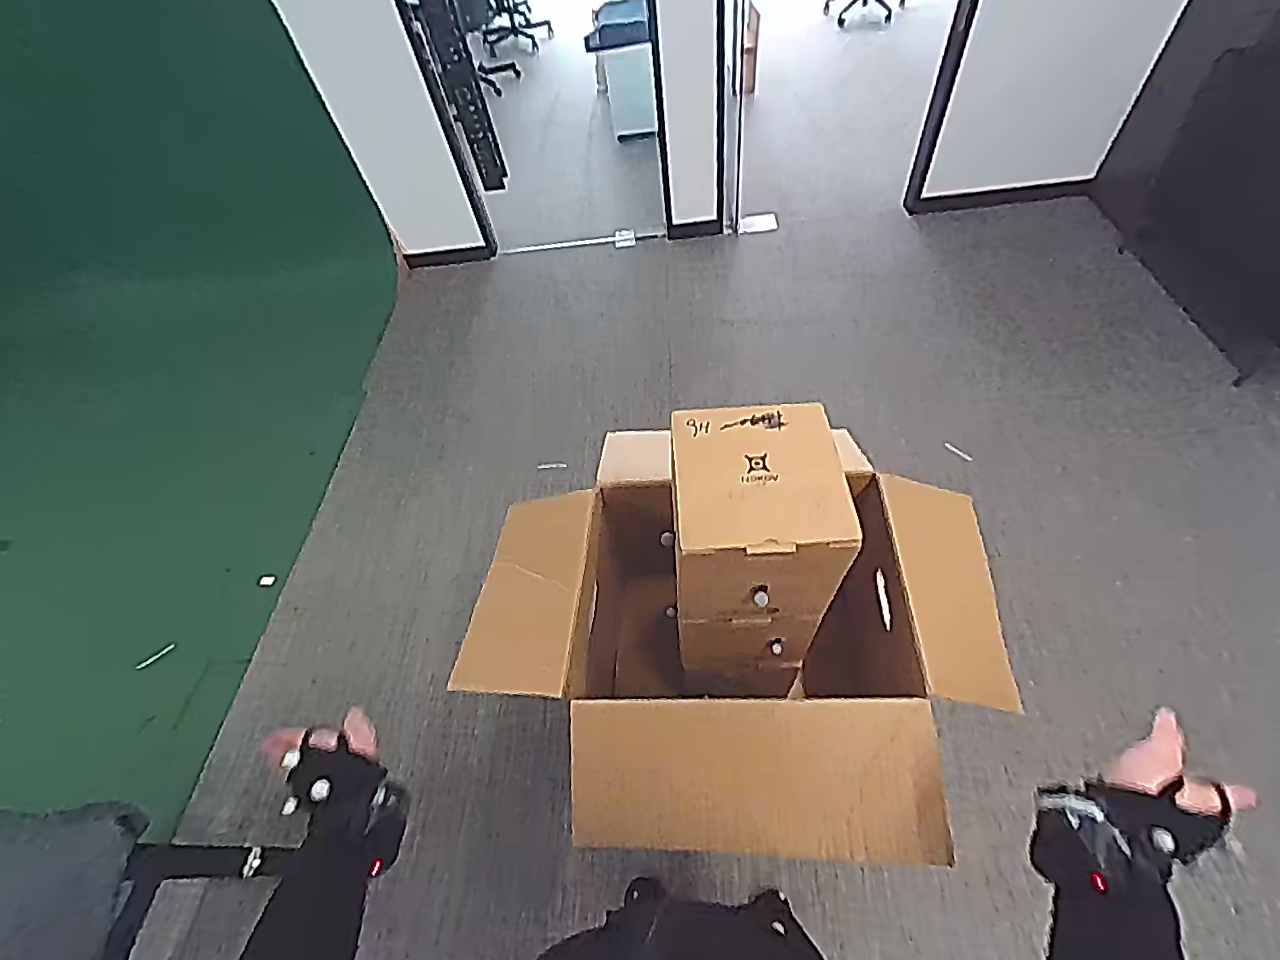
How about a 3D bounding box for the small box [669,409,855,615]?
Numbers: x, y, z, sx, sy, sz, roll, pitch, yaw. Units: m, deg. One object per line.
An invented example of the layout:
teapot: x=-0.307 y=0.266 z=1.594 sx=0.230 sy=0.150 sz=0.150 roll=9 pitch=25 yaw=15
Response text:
small box: x=0.120 y=0.044 z=0.603 sx=0.168 sy=0.176 sz=0.179 roll=-2 pitch=55 yaw=2
